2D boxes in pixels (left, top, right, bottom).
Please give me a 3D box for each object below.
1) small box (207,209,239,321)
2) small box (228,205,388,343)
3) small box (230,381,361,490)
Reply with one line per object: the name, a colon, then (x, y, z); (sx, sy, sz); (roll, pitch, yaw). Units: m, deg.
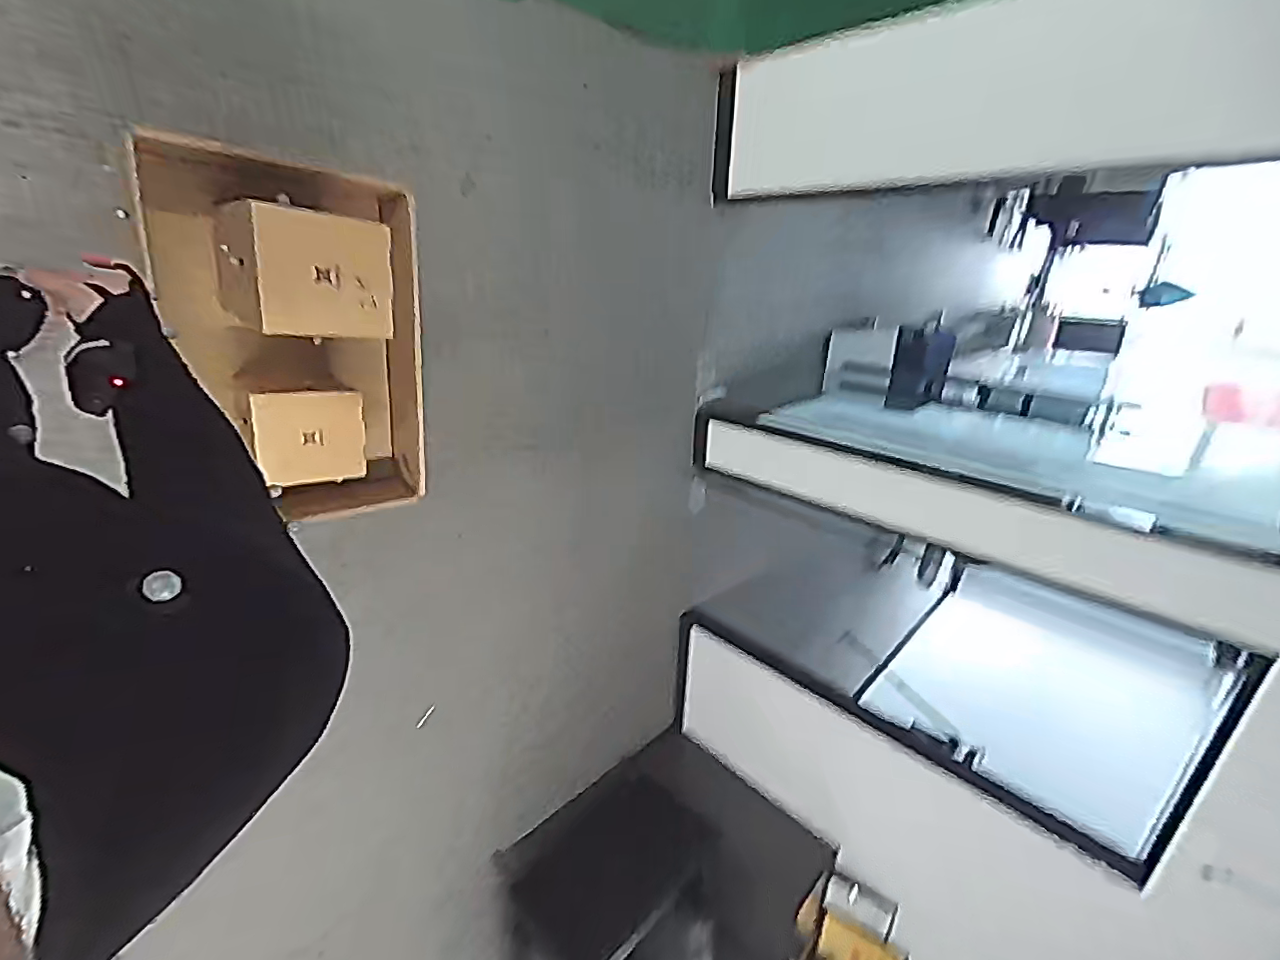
small box: (-0.615, -0.356, 0.932); (0.179, 0.176, 0.168); (-9, 112, -46)
small box: (-0.505, -0.305, 0.821); (0.179, 0.176, 0.168); (-10, 114, -45)
small box: (-0.647, -0.091, 1.014); (0.179, 0.176, 0.168); (-11, 114, -45)
